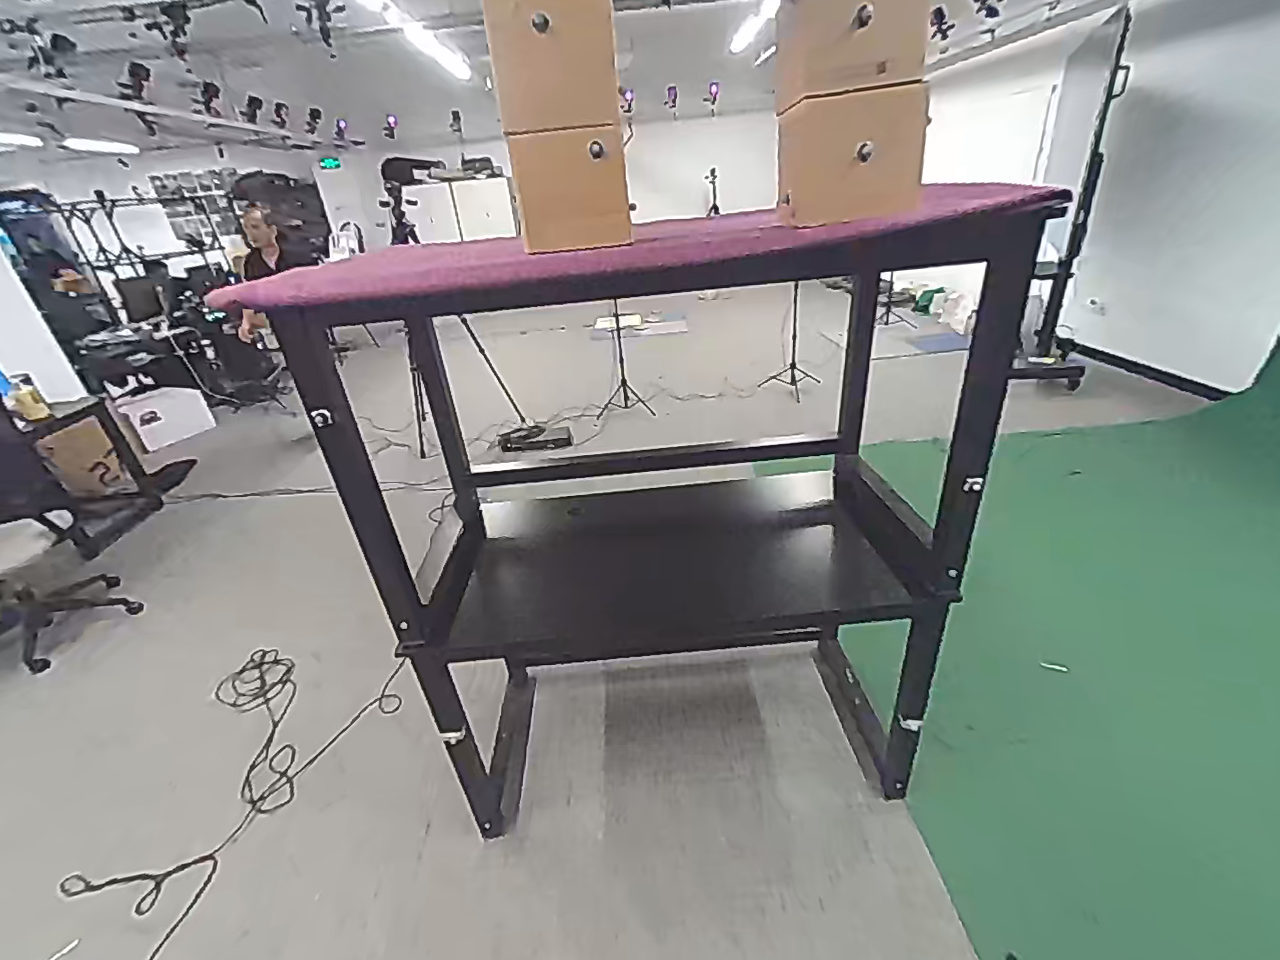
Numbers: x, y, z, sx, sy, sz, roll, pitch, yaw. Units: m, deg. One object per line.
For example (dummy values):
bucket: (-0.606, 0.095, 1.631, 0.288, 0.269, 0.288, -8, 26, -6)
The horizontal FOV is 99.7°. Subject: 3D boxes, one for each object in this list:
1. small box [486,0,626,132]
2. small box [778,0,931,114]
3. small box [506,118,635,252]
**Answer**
small box: (-0.116, -0.624, 0.818, 0.179, 0.176, 0.168, -3, 27, 1)
small box: (0.299, -0.646, 0.773, 0.168, 0.176, 0.179, -6, 27, 2)
small box: (-0.103, -0.476, 0.889, 0.179, 0.176, 0.168, -4, 27, 1)
